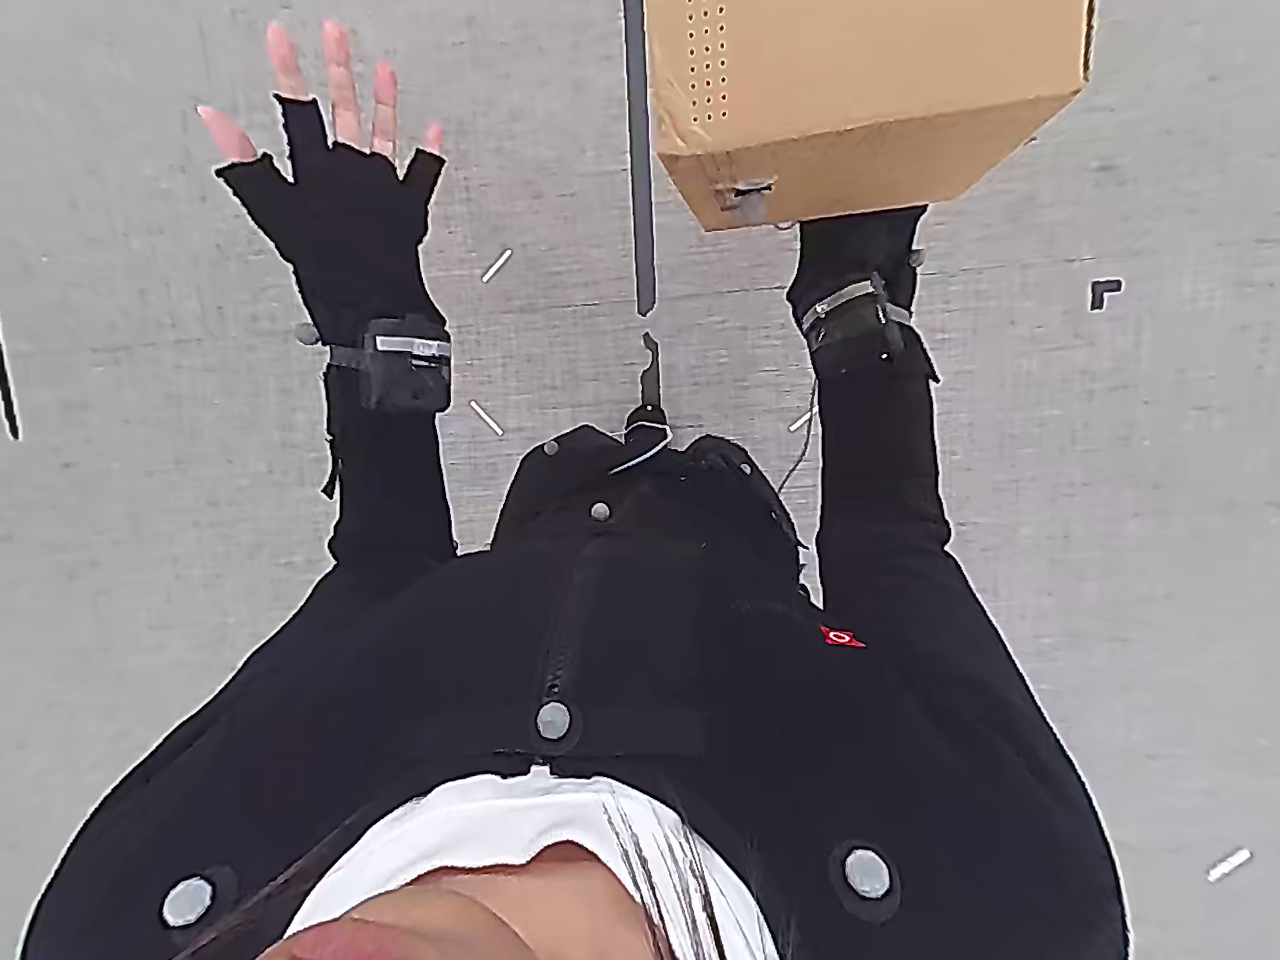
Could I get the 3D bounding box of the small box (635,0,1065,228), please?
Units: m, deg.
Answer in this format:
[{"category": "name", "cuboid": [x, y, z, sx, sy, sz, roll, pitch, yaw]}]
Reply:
[{"category": "small box", "cuboid": [0.094, -0.252, 0.287, 0.176, 0.168, 0.179, 0, 103, 16]}]
